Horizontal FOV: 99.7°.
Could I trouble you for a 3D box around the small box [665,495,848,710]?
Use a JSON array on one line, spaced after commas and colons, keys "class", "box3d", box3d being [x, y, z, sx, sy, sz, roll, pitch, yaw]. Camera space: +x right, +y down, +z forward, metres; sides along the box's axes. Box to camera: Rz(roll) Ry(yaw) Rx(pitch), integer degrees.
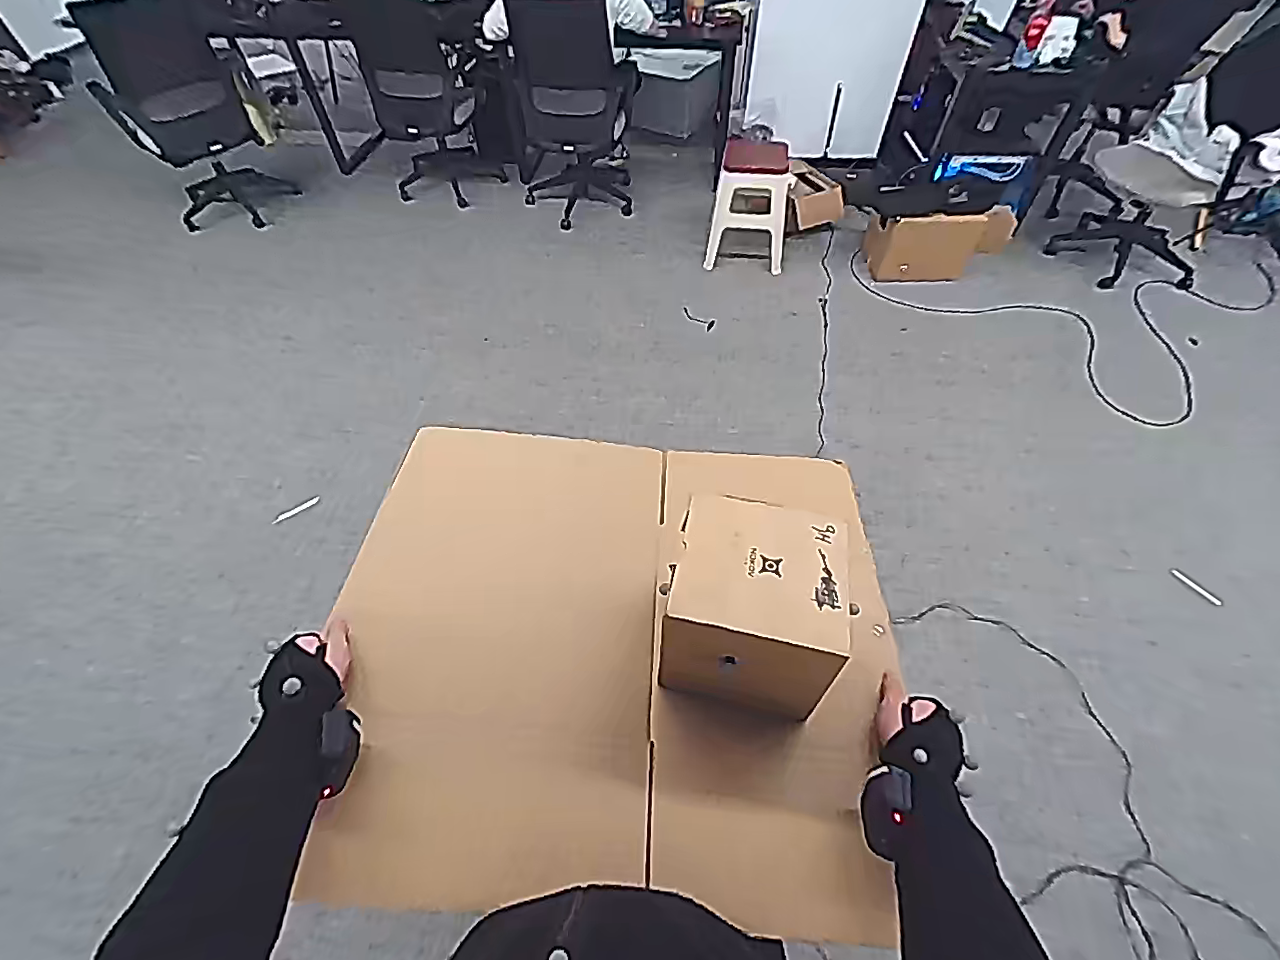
[{"class": "small box", "box3d": [0.128, 0.143, 0.623, 0.179, 0.176, 0.168, 10, 49, 9]}]
